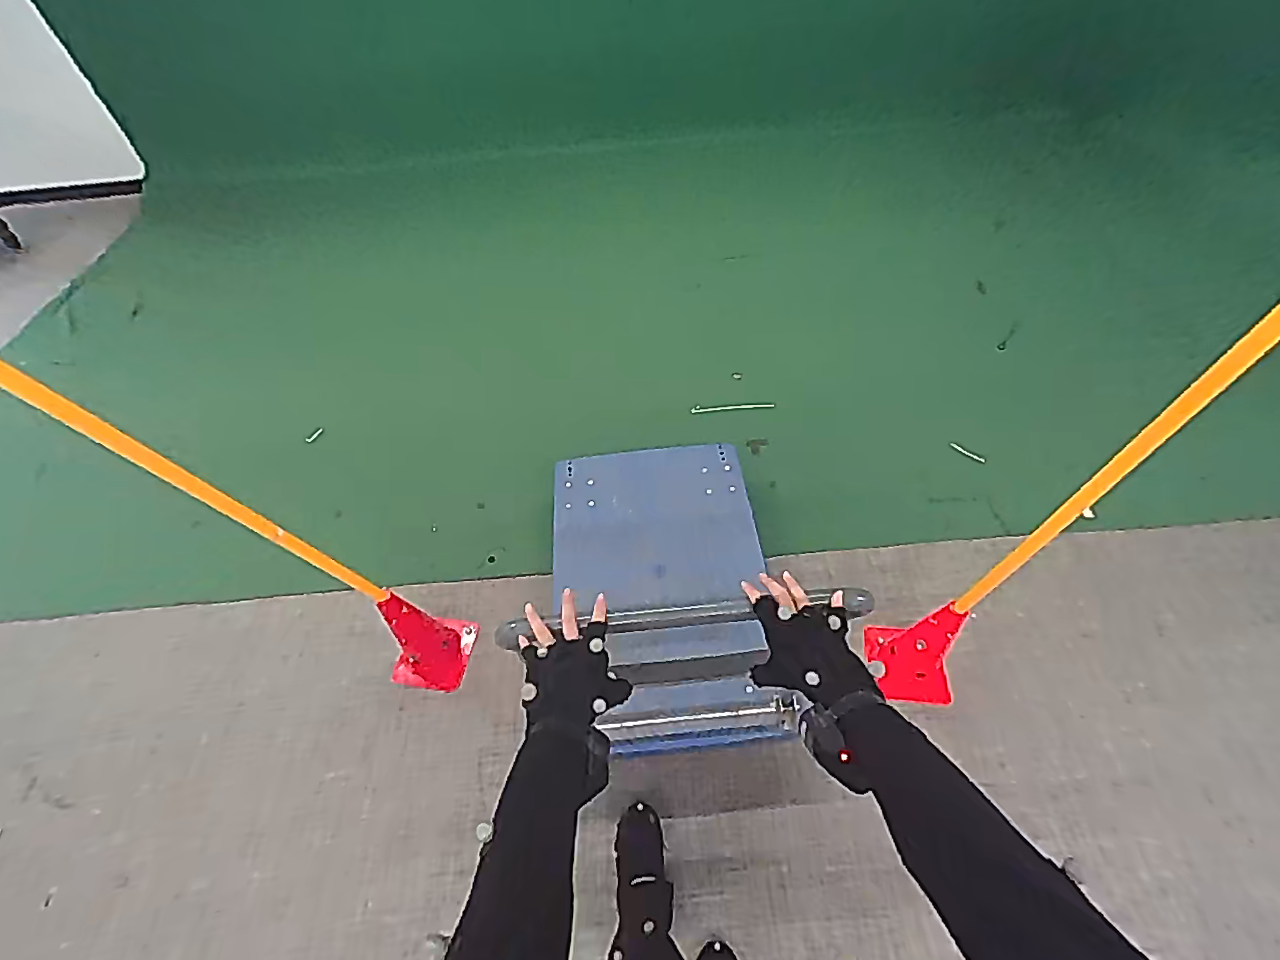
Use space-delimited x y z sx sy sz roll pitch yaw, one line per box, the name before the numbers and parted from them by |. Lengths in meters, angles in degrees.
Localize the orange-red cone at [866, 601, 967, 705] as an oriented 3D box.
orange-red cone | 0.700 0.387 1.306 0.198 0.360 0.199 4 53 8
